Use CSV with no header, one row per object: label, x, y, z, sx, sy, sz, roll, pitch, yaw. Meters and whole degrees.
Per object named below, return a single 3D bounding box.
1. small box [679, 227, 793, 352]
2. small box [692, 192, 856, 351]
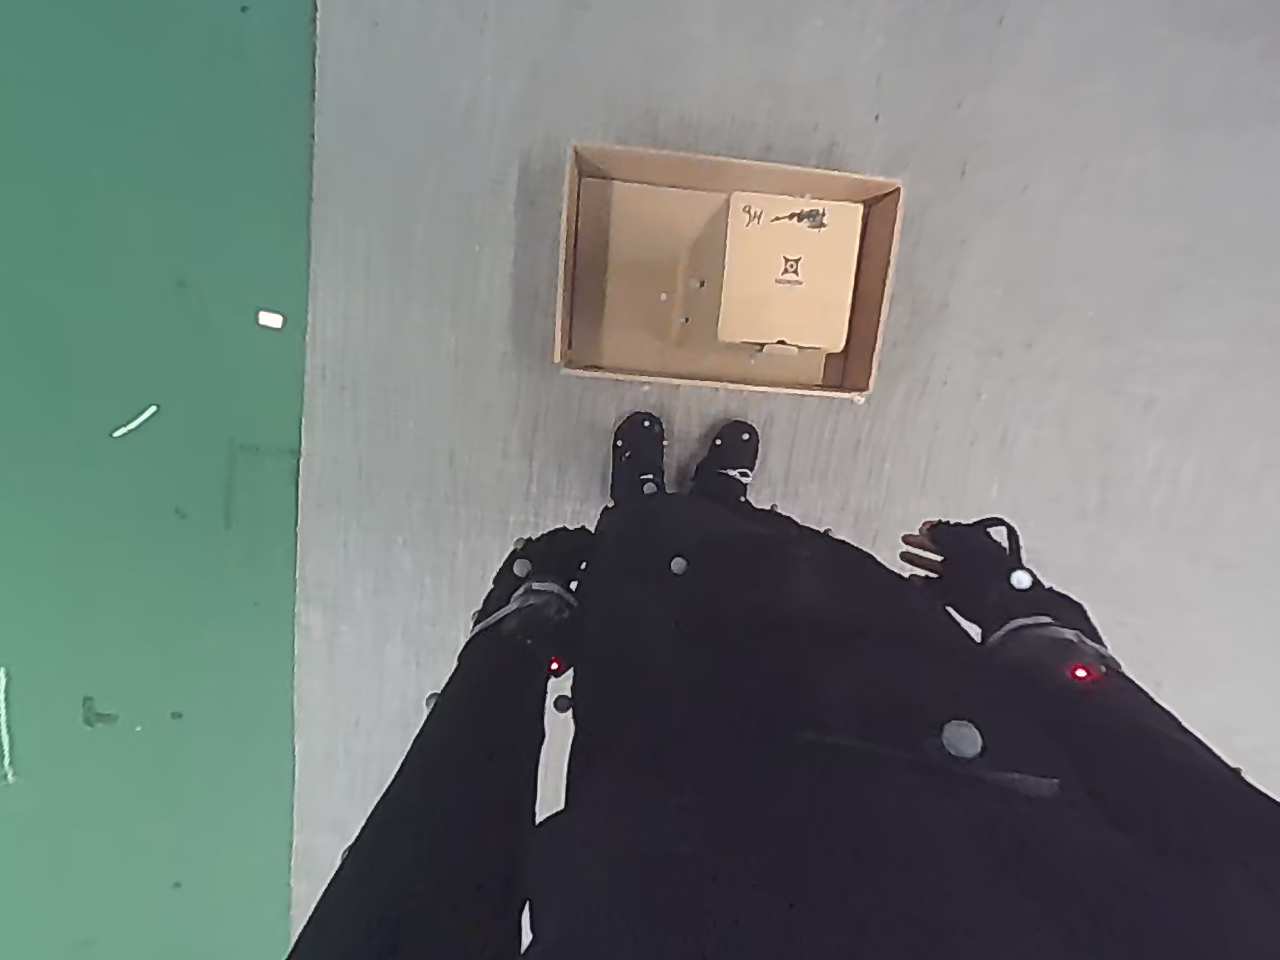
small box,0.158,-0.303,0.887,0.168,0.176,0.179,0,103,-4
small box,0.169,-0.272,0.743,0.168,0.176,0.179,2,103,-5
